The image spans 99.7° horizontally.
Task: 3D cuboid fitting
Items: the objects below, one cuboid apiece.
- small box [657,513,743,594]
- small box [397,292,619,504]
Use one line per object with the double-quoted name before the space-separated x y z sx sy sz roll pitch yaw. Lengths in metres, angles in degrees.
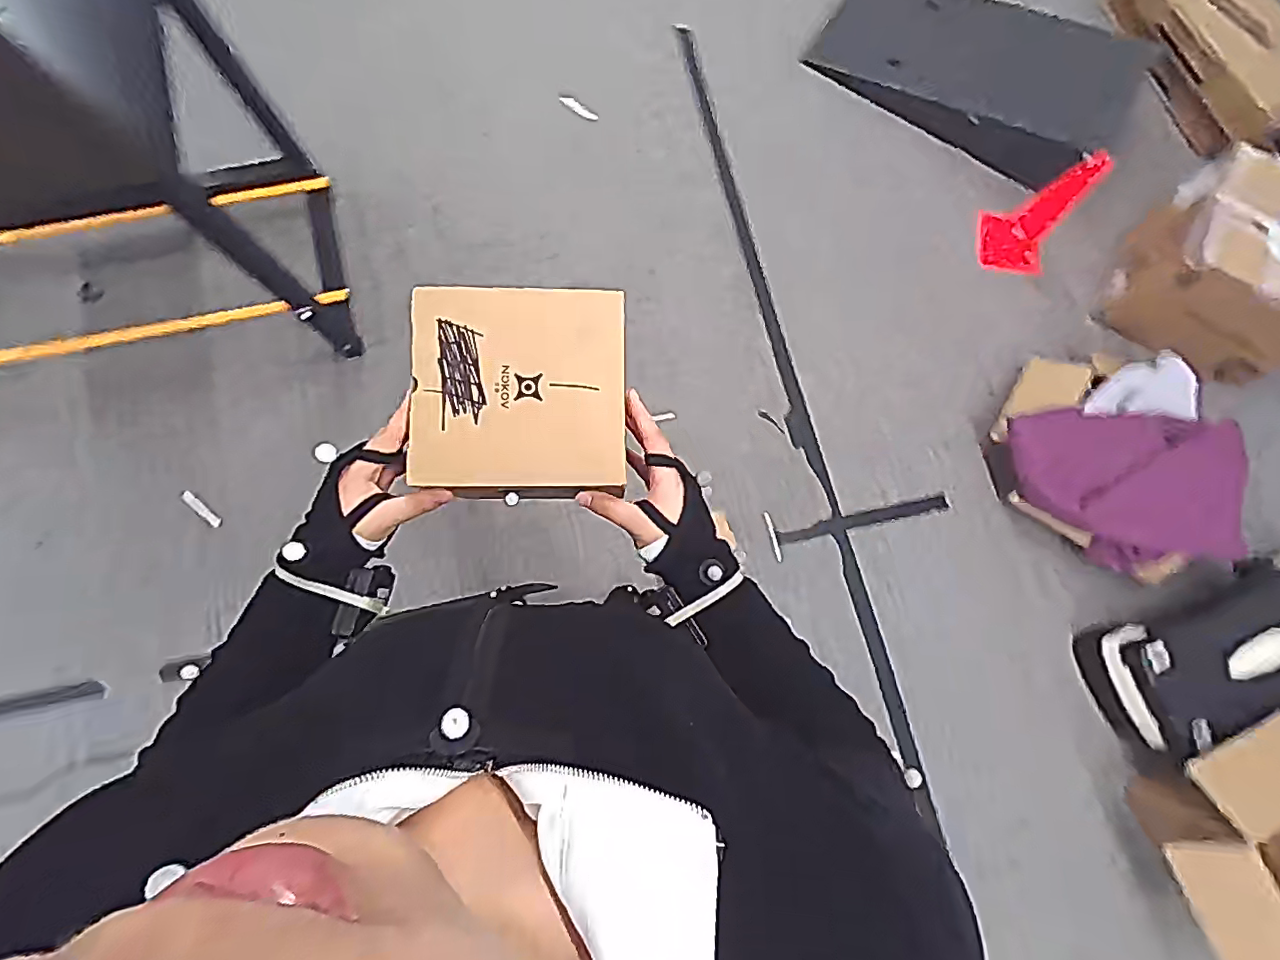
"small box" 0.154 0.198 1.445 0.179 0.176 0.168 -17 80 -4
"small box" -0.109 -0.064 0.514 0.179 0.176 0.168 -1 85 -3
